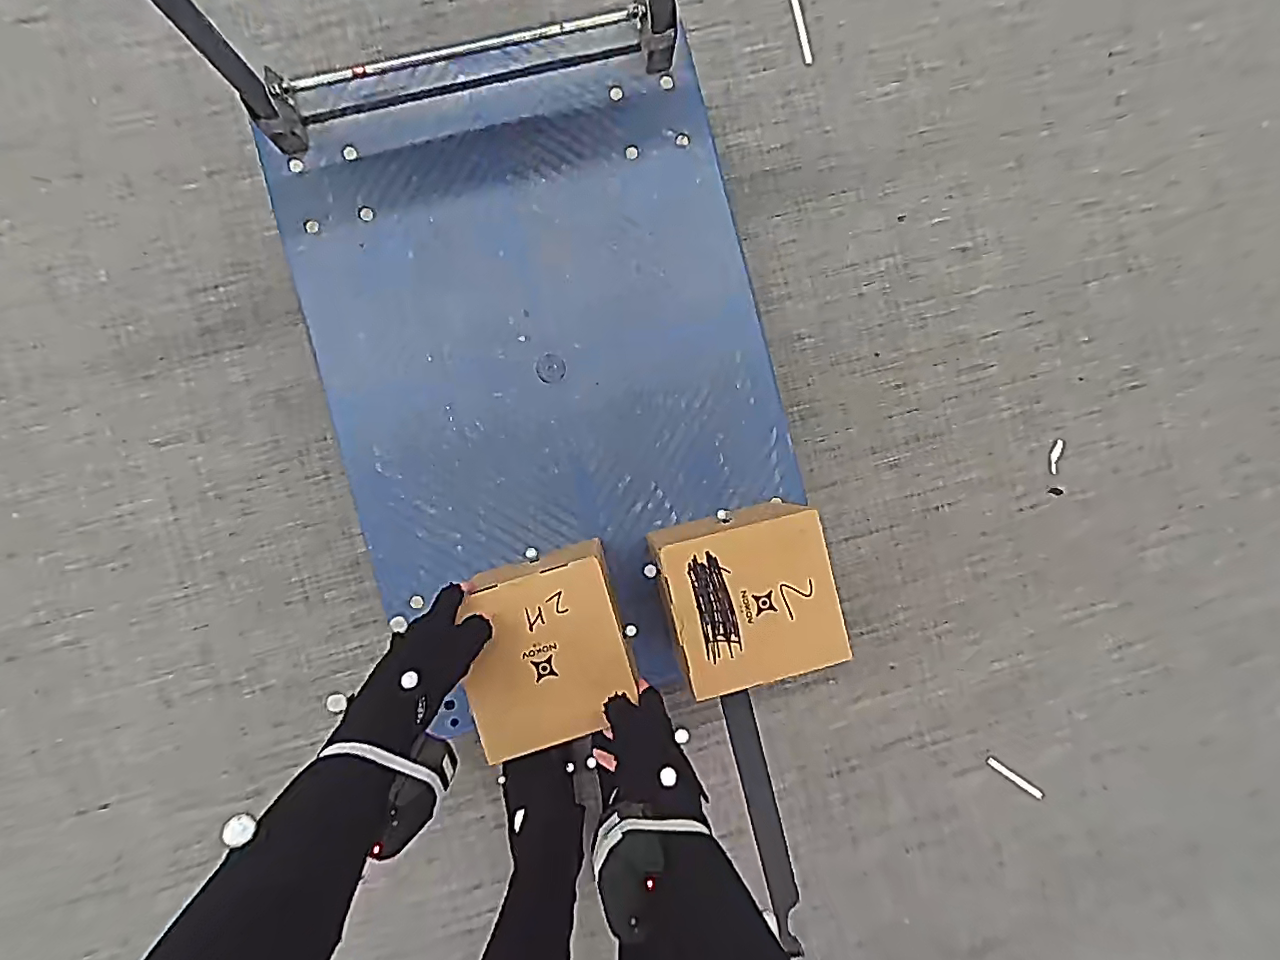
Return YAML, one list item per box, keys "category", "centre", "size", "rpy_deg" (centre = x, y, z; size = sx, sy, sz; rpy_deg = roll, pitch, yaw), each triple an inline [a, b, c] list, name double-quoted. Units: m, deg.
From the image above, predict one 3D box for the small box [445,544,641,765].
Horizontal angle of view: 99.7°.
- category: "small box"
  centre: [-0.101, 0.186, 0.629]
  size: [0.168, 0.176, 0.179]
  rpy_deg: [-16, 90, -3]
